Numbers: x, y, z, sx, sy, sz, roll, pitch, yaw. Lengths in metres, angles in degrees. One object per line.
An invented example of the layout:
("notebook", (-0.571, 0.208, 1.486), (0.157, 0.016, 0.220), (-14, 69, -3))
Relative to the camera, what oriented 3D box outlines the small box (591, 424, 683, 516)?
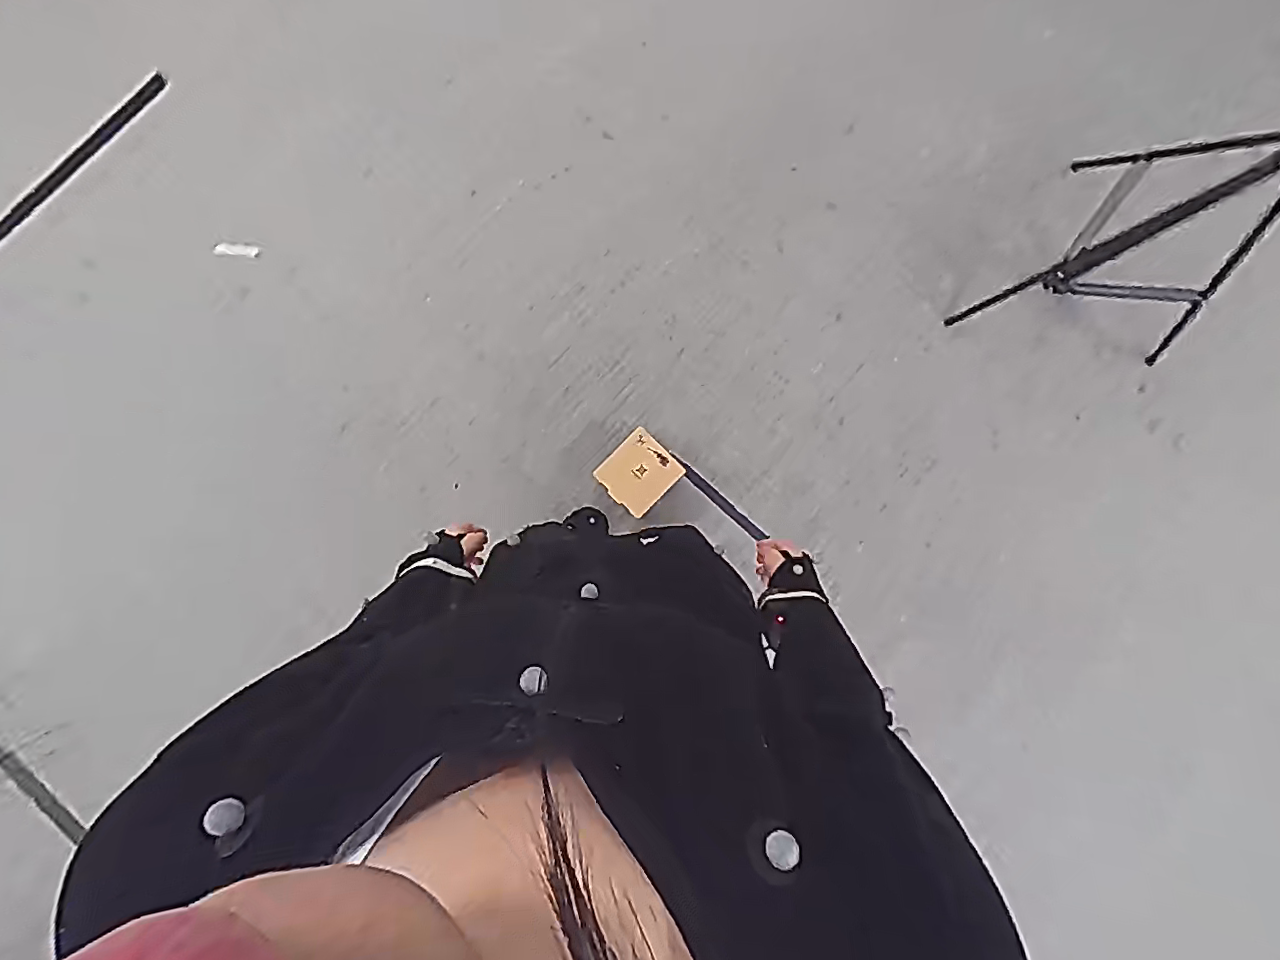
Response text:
("small box", (-0.005, -0.022, 1.428), (0.179, 0.176, 0.168), (-44, 89, -2))
